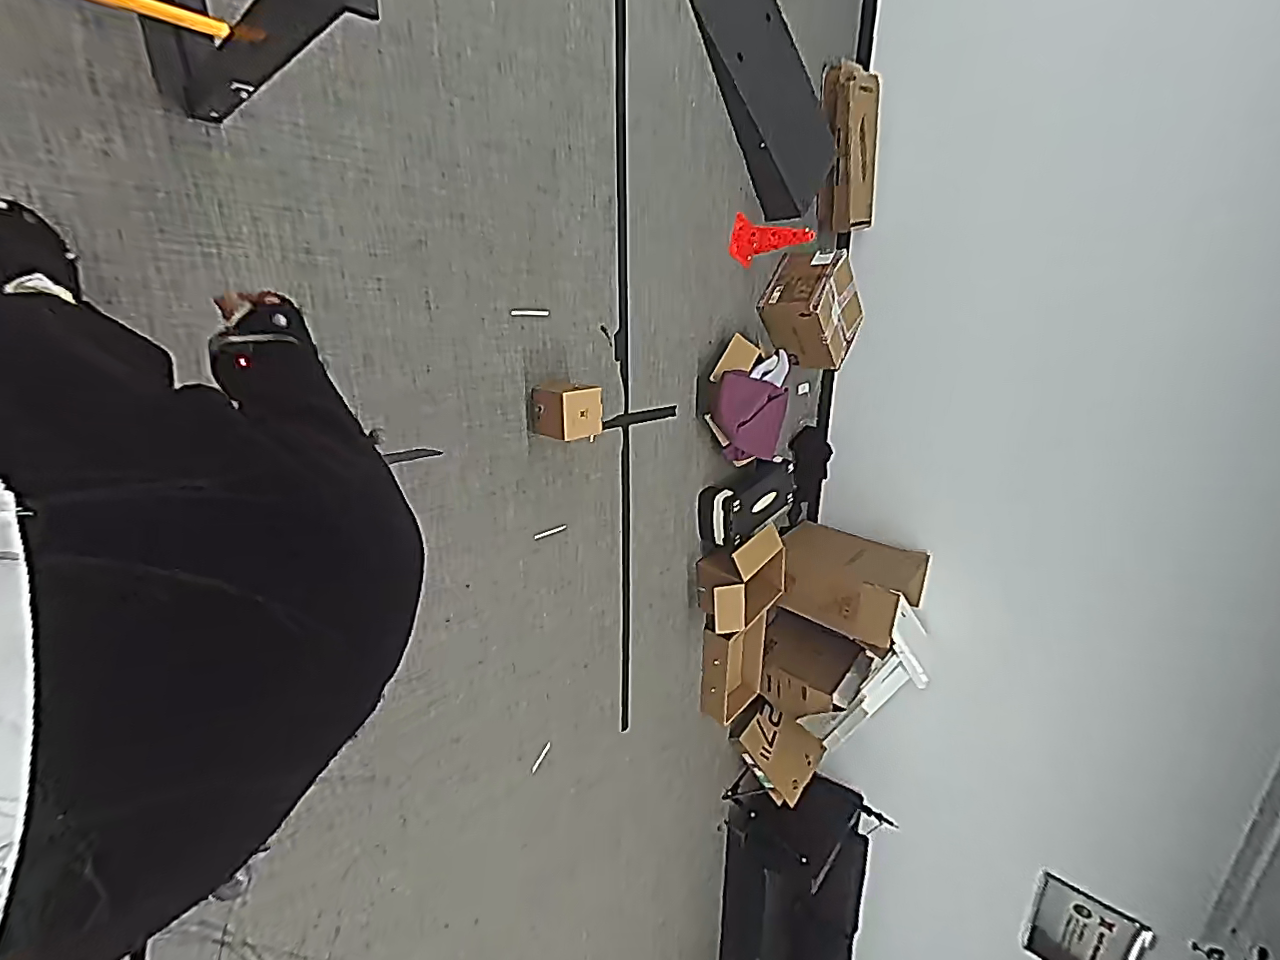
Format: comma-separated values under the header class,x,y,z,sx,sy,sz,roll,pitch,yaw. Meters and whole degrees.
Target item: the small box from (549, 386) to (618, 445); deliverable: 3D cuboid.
class,x,y,z,sx,sy,sz,roll,pitch,yaw
small box,-0.193,-0.228,1.857,0.179,0.176,0.168,-19,116,-44
